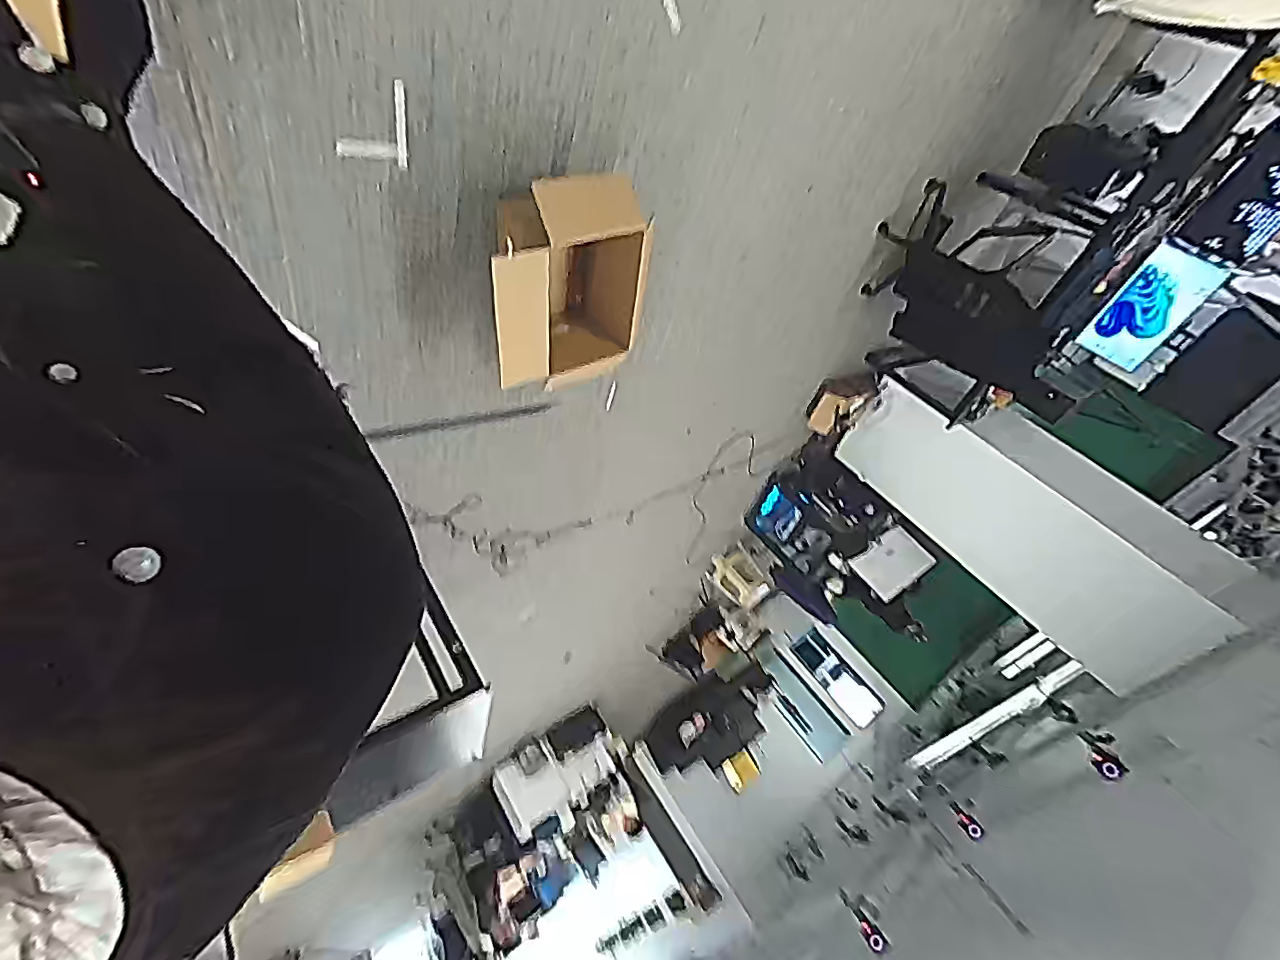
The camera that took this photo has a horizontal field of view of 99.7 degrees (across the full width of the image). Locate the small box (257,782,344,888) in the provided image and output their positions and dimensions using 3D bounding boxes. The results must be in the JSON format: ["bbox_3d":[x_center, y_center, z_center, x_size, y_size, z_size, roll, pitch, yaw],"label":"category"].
[{"bbox_3d":[-1.003,1.035,1.589,0.179,0.176,0.168,-8,138,-47],"label":"small box"}]
